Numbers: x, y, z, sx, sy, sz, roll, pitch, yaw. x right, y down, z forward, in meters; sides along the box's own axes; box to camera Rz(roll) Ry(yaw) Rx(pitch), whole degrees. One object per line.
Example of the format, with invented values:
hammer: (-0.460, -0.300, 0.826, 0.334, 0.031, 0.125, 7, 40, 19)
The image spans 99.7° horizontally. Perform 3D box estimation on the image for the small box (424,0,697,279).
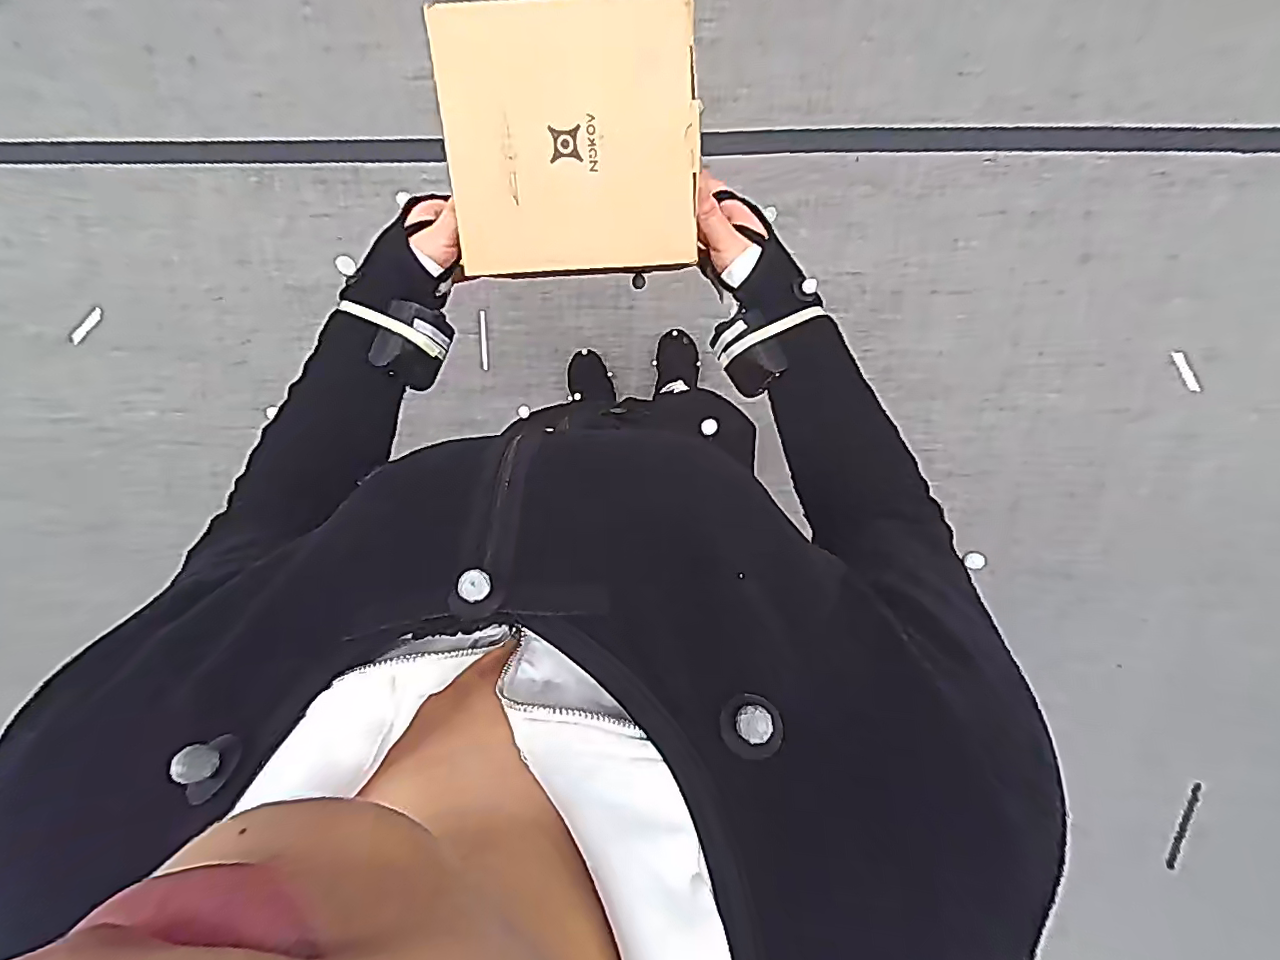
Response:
small box: (-0.051, -0.262, 0.451, 0.179, 0.176, 0.168, -4, 108, 2)
